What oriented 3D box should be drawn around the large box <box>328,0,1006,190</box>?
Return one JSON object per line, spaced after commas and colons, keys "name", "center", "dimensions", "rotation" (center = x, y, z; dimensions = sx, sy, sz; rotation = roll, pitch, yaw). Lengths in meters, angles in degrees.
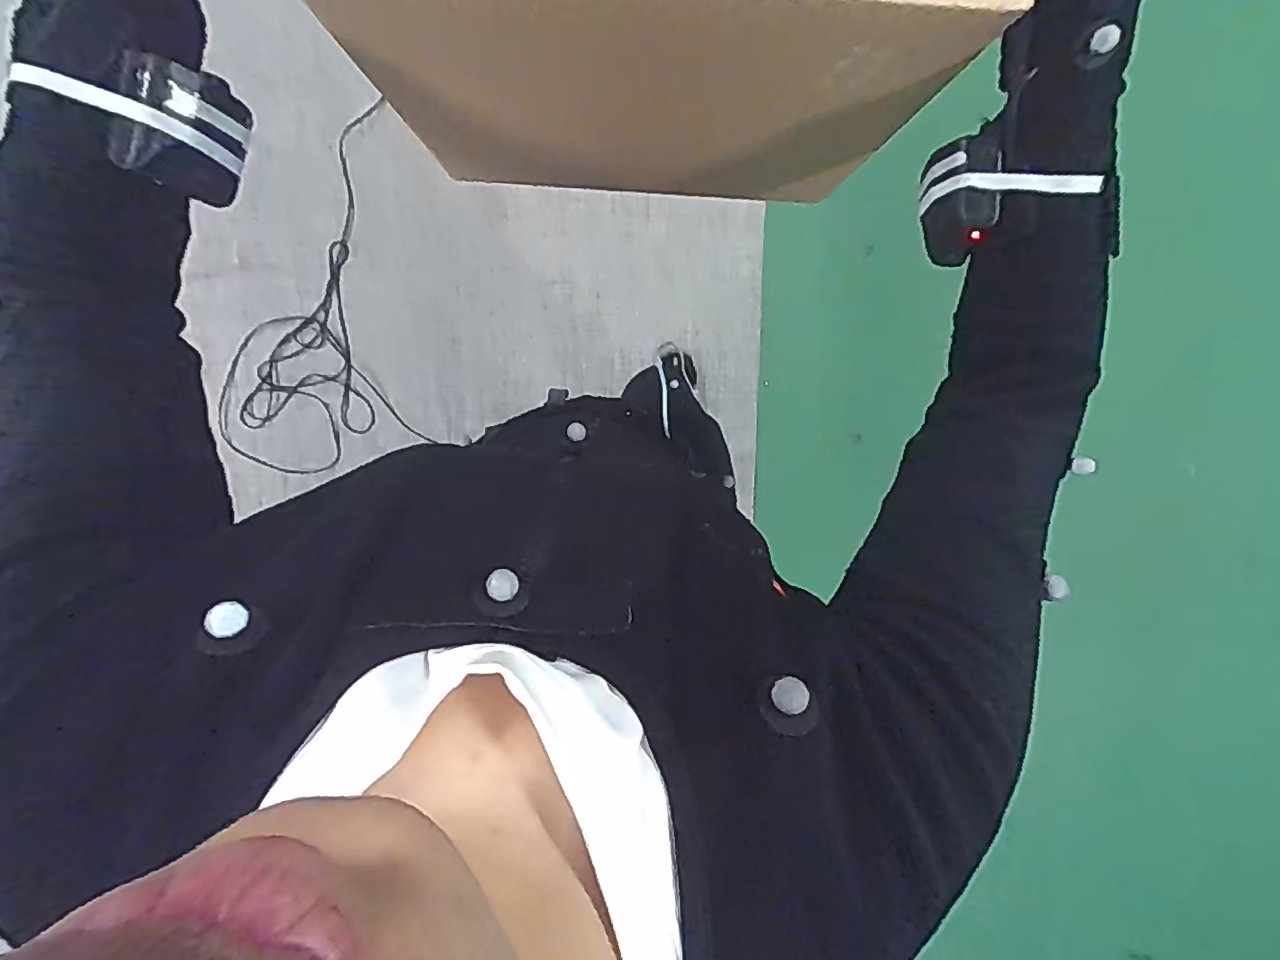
{"name": "large box", "center": [0.009, -0.444, 0.413], "dimensions": [0.408, 0.320, 0.320], "rotation": [2, 101, -3]}
